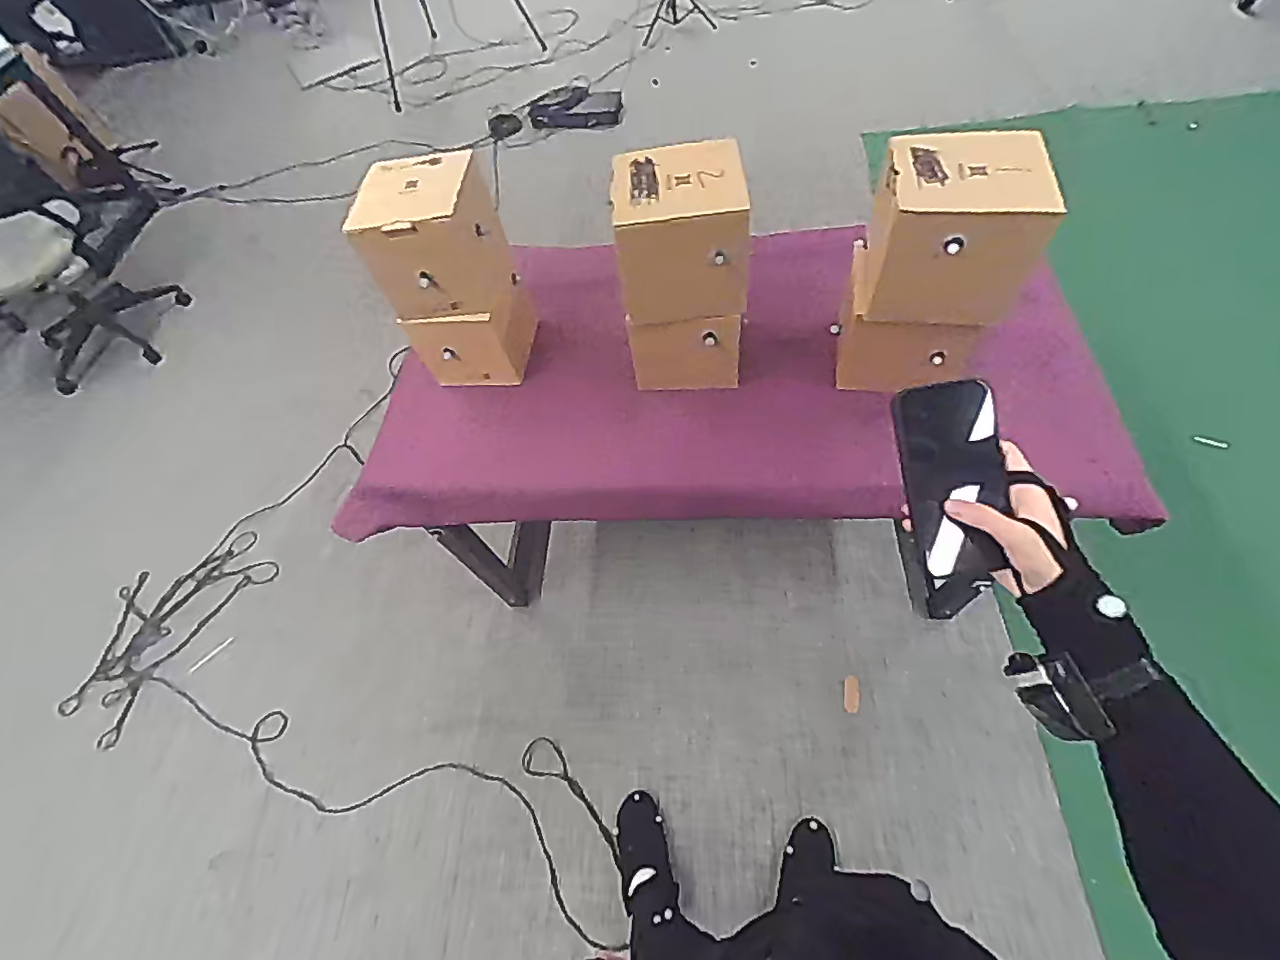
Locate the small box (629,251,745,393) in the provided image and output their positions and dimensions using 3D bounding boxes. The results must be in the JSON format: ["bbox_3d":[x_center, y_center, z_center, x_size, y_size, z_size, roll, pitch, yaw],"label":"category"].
[{"bbox_3d":[0.086,-0.263,0.924,0.179,0.176,0.168,0,59,10],"label":"small box"}]

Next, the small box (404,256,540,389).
[{"bbox_3d":[-0.297,-0.284,1.000,0.168,0.176,0.179,1,59,10],"label":"small box"}]

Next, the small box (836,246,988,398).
[{"bbox_3d":[0.421,-0.247,0.862,0.179,0.176,0.168,6,60,13],"label":"small box"}]

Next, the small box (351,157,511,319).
[{"bbox_3d":[-0.319,-0.376,0.865,0.168,0.176,0.179,-3,59,6],"label":"small box"}]

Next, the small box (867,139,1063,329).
[{"bbox_3d":[0.406,-0.319,0.715,0.179,0.176,0.168,6,60,12],"label":"small box"}]
